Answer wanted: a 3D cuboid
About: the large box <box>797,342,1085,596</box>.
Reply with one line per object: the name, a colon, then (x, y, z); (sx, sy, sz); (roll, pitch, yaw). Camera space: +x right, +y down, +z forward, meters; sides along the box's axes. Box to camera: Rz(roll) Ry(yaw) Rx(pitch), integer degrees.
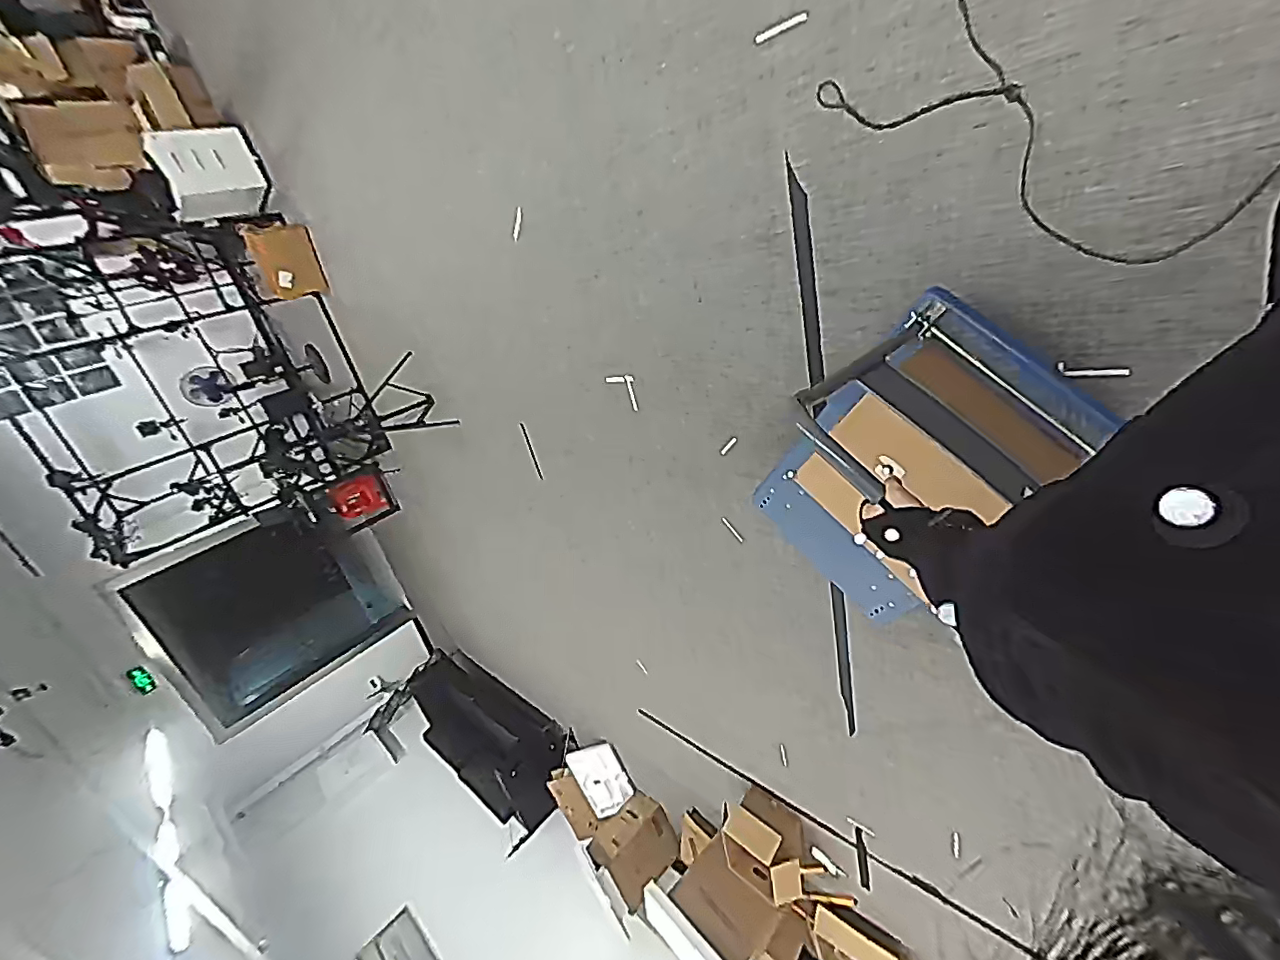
large box: (0.649, -0.031, 1.199); (0.408, 0.320, 0.320); (46, 142, 15)
